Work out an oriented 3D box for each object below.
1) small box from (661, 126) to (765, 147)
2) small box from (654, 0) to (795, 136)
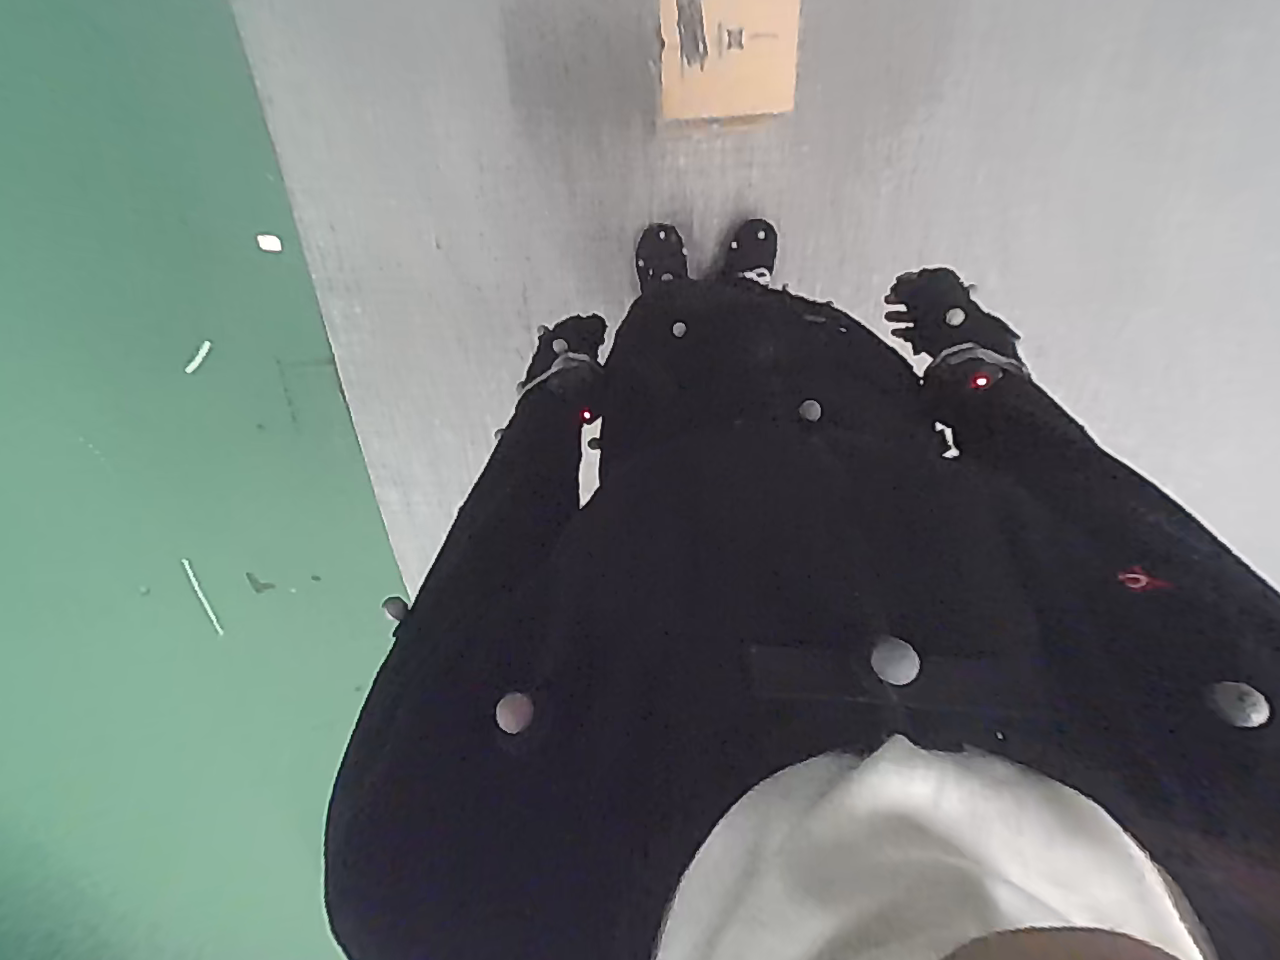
[{"bbox_3d":[0.115,-0.665,0.896,0.168,0.176,0.179,-2,120,4],"label":"small box"},{"bbox_3d":[0.111,-0.594,0.767,0.179,0.176,0.168,-2,119,3],"label":"small box"}]
